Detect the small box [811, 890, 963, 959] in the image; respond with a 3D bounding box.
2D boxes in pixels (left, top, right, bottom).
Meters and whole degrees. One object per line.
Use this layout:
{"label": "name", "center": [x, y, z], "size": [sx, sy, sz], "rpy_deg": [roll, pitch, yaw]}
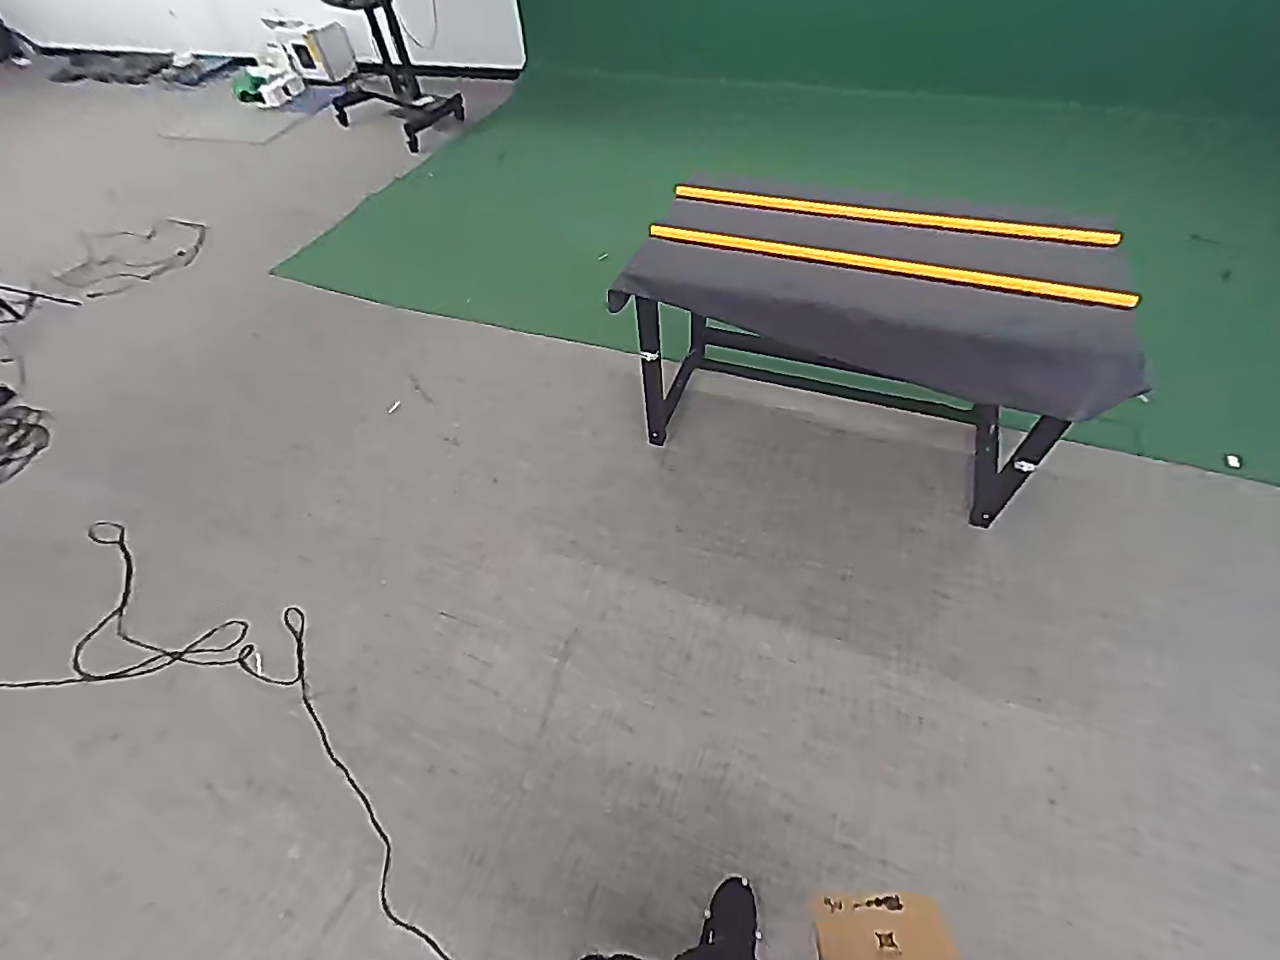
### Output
{"label": "small box", "center": [0.327, 0.668, 0.678], "size": [0.168, 0.179, 0.176], "rpy_deg": [-10, 92, 8]}
